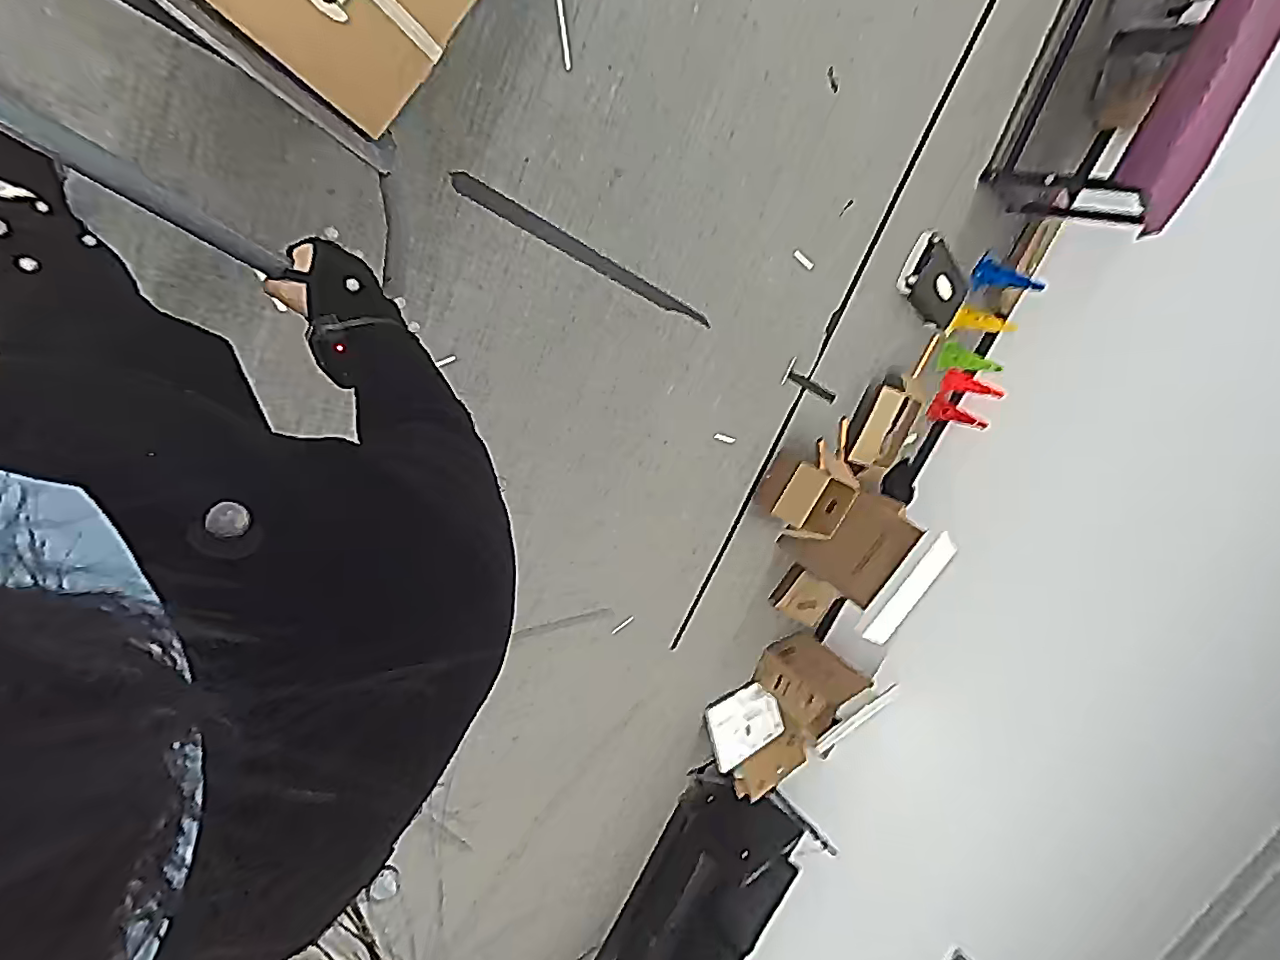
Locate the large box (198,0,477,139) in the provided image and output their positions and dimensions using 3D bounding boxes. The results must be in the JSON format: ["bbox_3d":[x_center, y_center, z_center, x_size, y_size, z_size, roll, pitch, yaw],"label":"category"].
[{"bbox_3d":[-0.466,-0.774,0.707,0.320,0.320,0.408,-39,145,17],"label":"large box"}]
